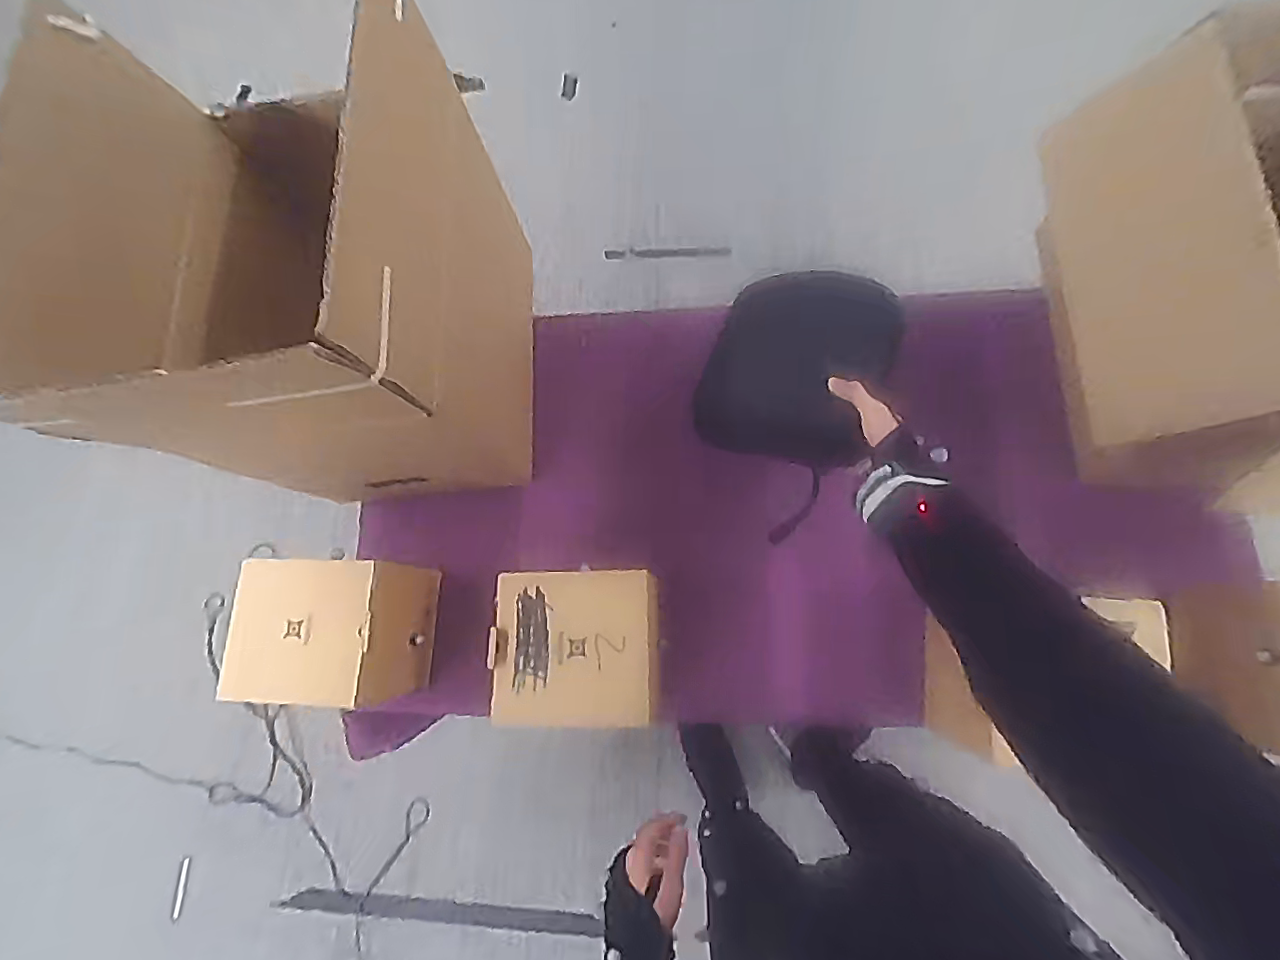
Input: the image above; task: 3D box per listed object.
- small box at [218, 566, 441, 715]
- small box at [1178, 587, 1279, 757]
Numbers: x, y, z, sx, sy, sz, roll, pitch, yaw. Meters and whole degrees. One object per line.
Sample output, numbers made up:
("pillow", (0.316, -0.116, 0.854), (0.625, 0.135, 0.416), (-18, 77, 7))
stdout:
("small box", (-0.390, 0.205, 0.710), (0.179, 0.176, 0.168), (0, 76, 6))
("small box", (0.728, 0.208, 0.570), (0.168, 0.176, 0.179), (5, 76, 9))
